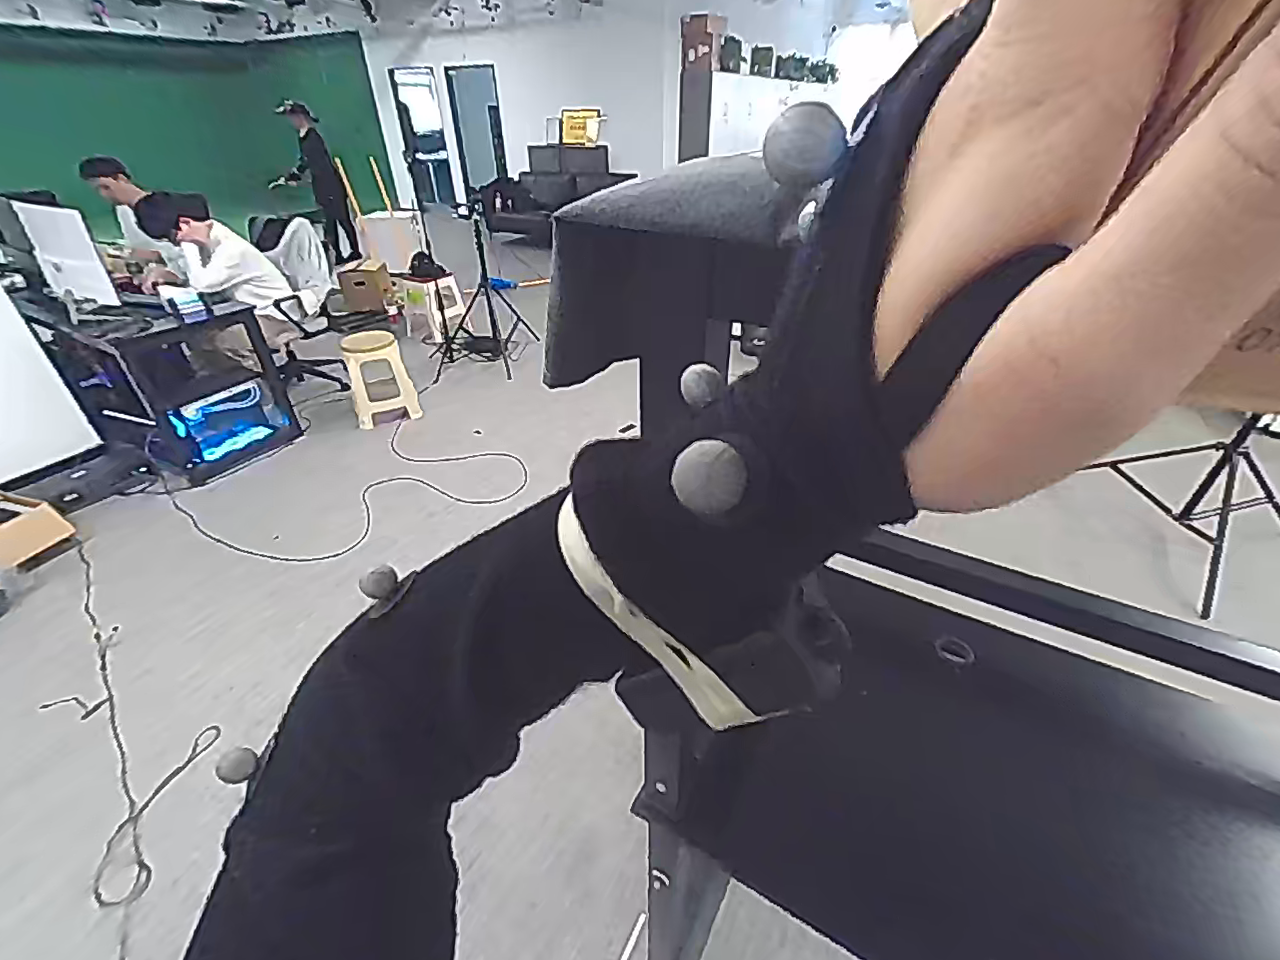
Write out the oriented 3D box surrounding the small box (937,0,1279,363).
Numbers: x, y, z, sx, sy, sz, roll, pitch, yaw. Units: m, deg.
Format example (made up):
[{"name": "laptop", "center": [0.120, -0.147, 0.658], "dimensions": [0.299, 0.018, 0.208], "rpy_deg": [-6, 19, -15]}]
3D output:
[{"name": "small box", "center": [0.163, -0.133, 0.073], "dimensions": [0.168, 0.176, 0.179], "rpy_deg": [6, 64, 6]}]
